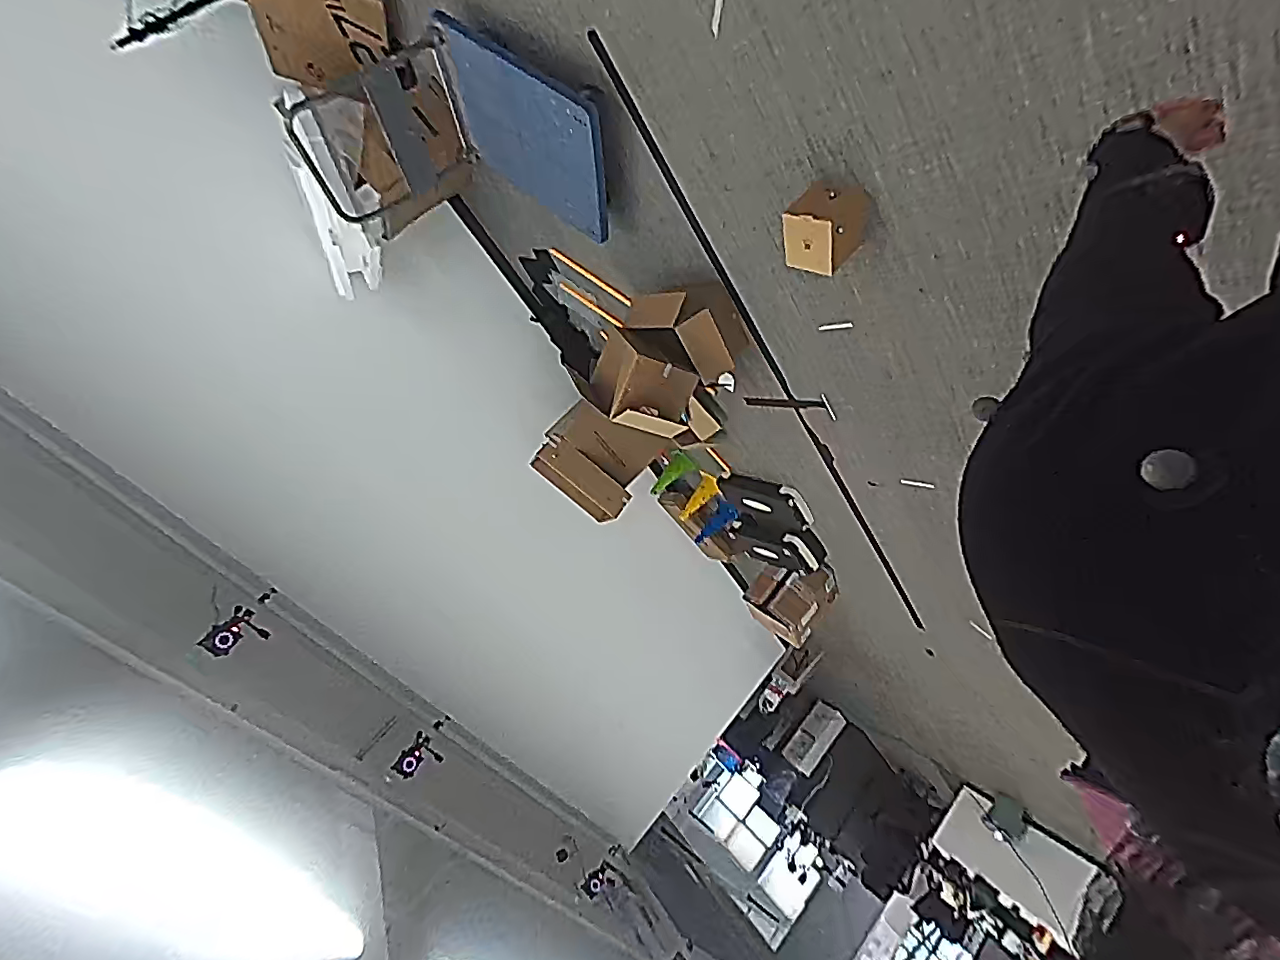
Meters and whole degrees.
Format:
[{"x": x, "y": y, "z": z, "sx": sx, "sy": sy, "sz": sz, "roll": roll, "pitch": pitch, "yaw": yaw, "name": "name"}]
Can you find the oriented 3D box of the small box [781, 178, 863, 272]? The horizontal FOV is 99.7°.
[{"x": 0.543, "y": -0.757, "z": 1.604, "sx": 0.168, "sy": 0.176, "sz": 0.179, "roll": 33, "pitch": 160, "yaw": 36, "name": "small box"}]
